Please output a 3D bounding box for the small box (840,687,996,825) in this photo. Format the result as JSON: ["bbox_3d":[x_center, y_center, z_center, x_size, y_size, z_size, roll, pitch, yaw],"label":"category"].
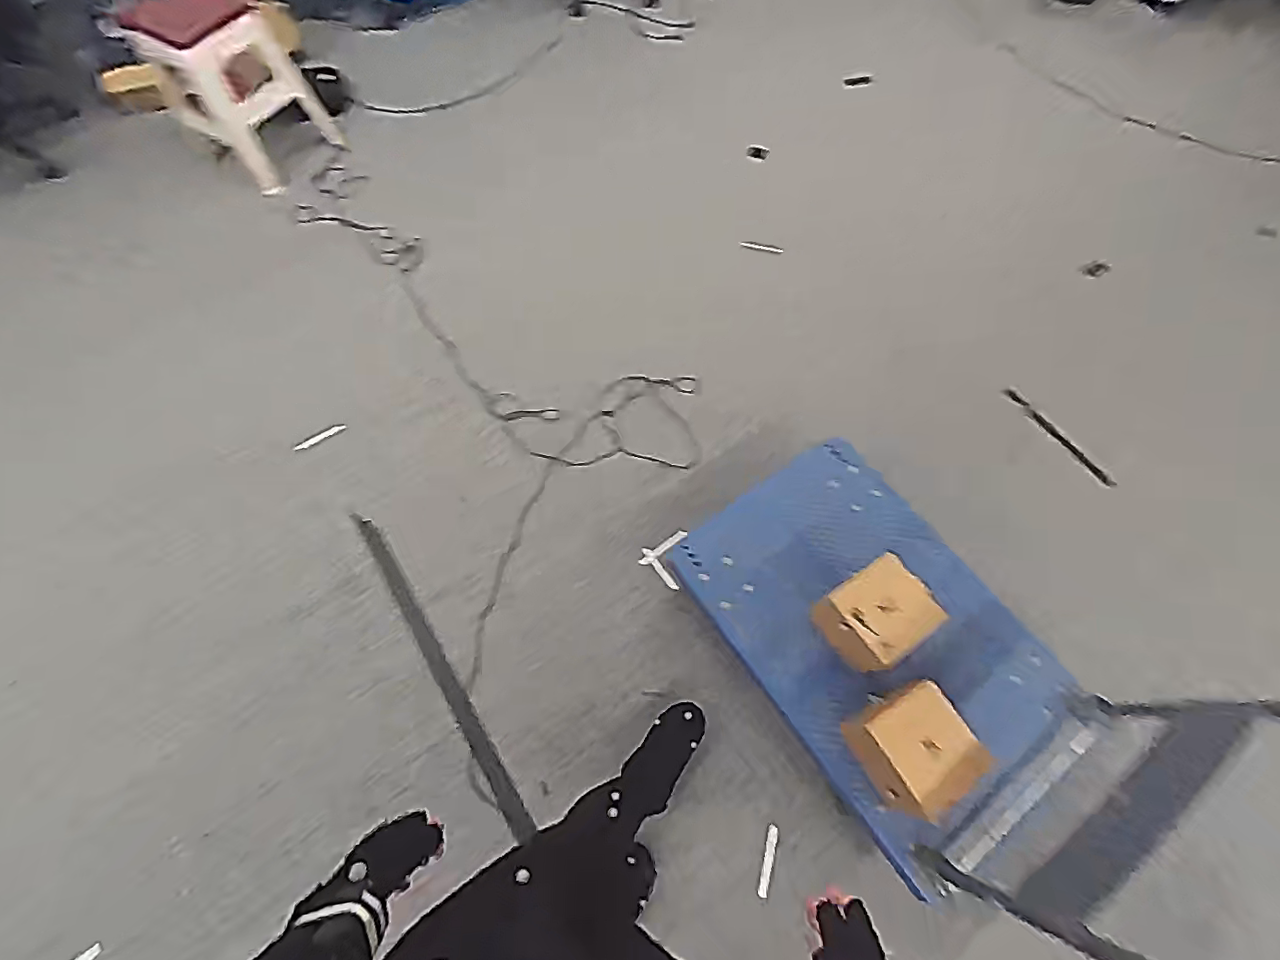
[{"bbox_3d":[0.529,0.532,1.057,0.168,0.176,0.179,-27,67,-15],"label":"small box"}]

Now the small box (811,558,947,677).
[{"bbox_3d":[0.501,0.300,1.162,0.179,0.176,0.168,-30,68,-15],"label":"small box"}]
